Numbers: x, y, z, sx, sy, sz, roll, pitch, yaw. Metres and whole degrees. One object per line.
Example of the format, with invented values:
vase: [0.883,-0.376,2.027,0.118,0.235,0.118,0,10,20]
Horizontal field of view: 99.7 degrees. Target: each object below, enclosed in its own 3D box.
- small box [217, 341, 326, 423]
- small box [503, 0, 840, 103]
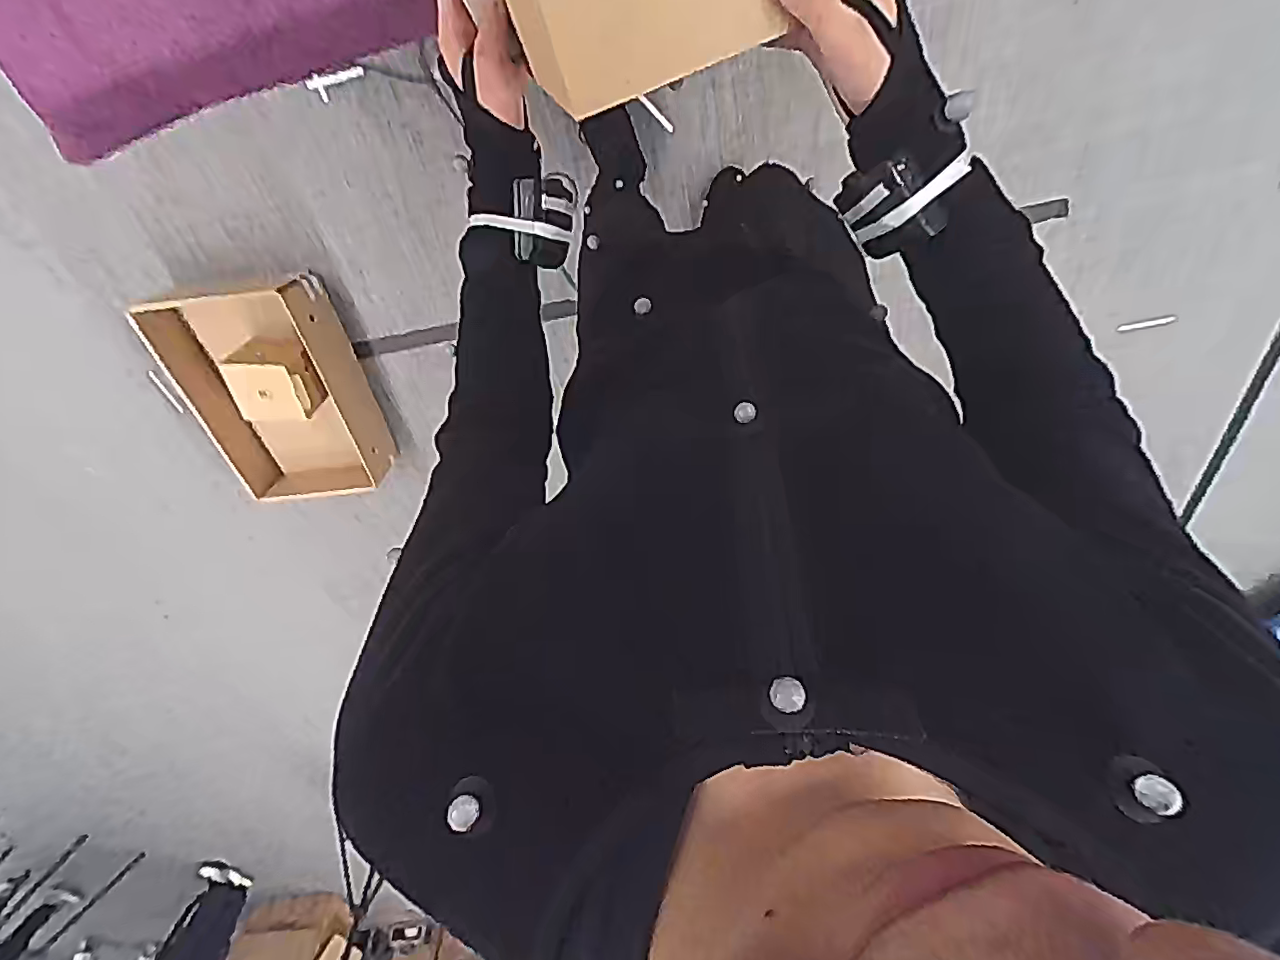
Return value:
small box: [-0.989,-0.270,1.477,0.179,0.176,0.168,0,128,-2]
small box: [-0.005,-0.346,0.301,0.179,0.176,0.168,-23,138,-2]
